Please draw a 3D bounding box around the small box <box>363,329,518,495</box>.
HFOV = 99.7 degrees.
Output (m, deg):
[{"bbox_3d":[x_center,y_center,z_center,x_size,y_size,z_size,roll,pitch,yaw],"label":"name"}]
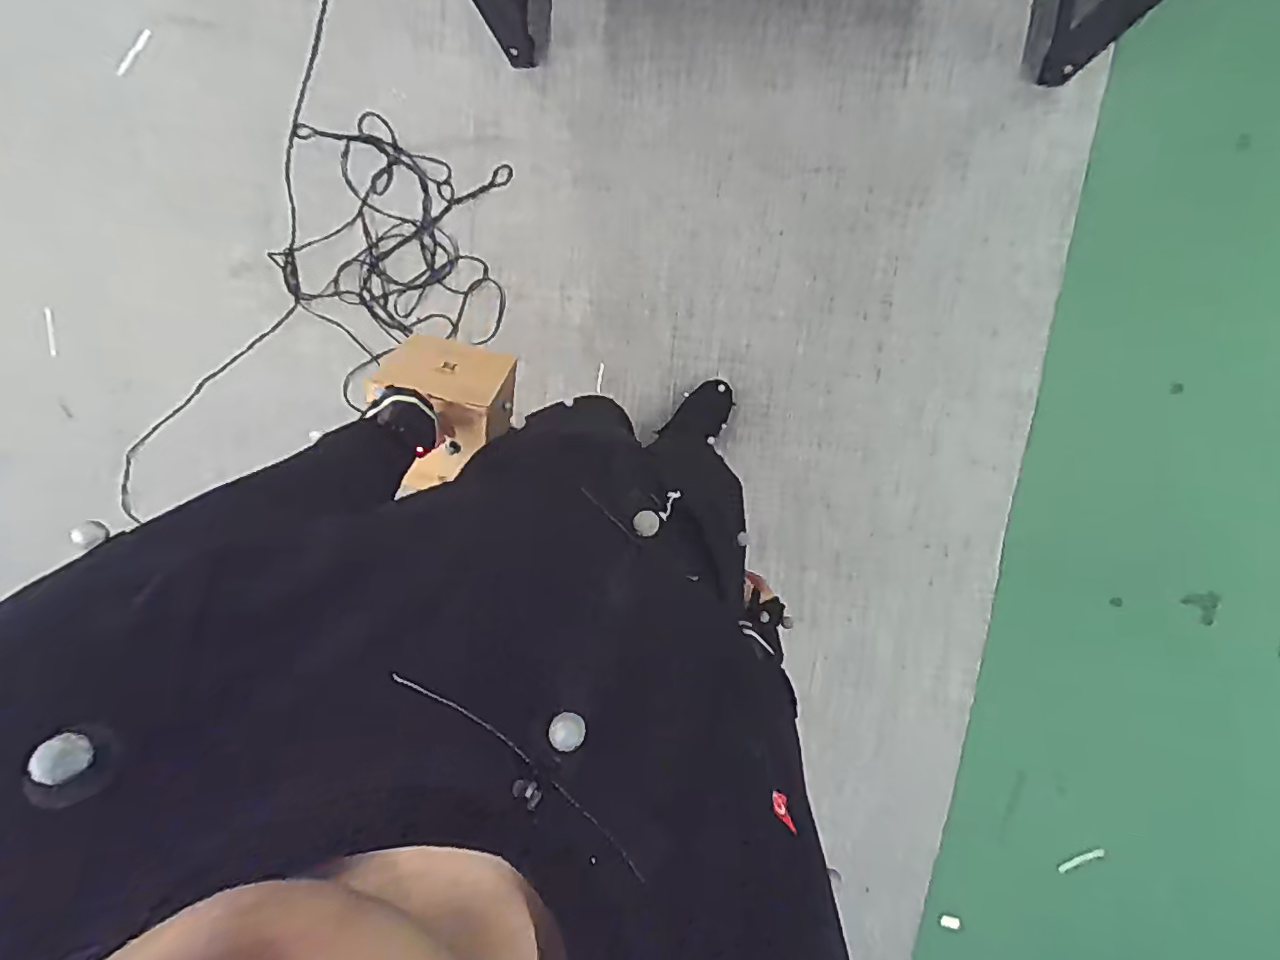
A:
[{"bbox_3d":[-0.291,-0.101,0.818,0.168,0.179,0.176,13,127,-5],"label":"small box"}]
